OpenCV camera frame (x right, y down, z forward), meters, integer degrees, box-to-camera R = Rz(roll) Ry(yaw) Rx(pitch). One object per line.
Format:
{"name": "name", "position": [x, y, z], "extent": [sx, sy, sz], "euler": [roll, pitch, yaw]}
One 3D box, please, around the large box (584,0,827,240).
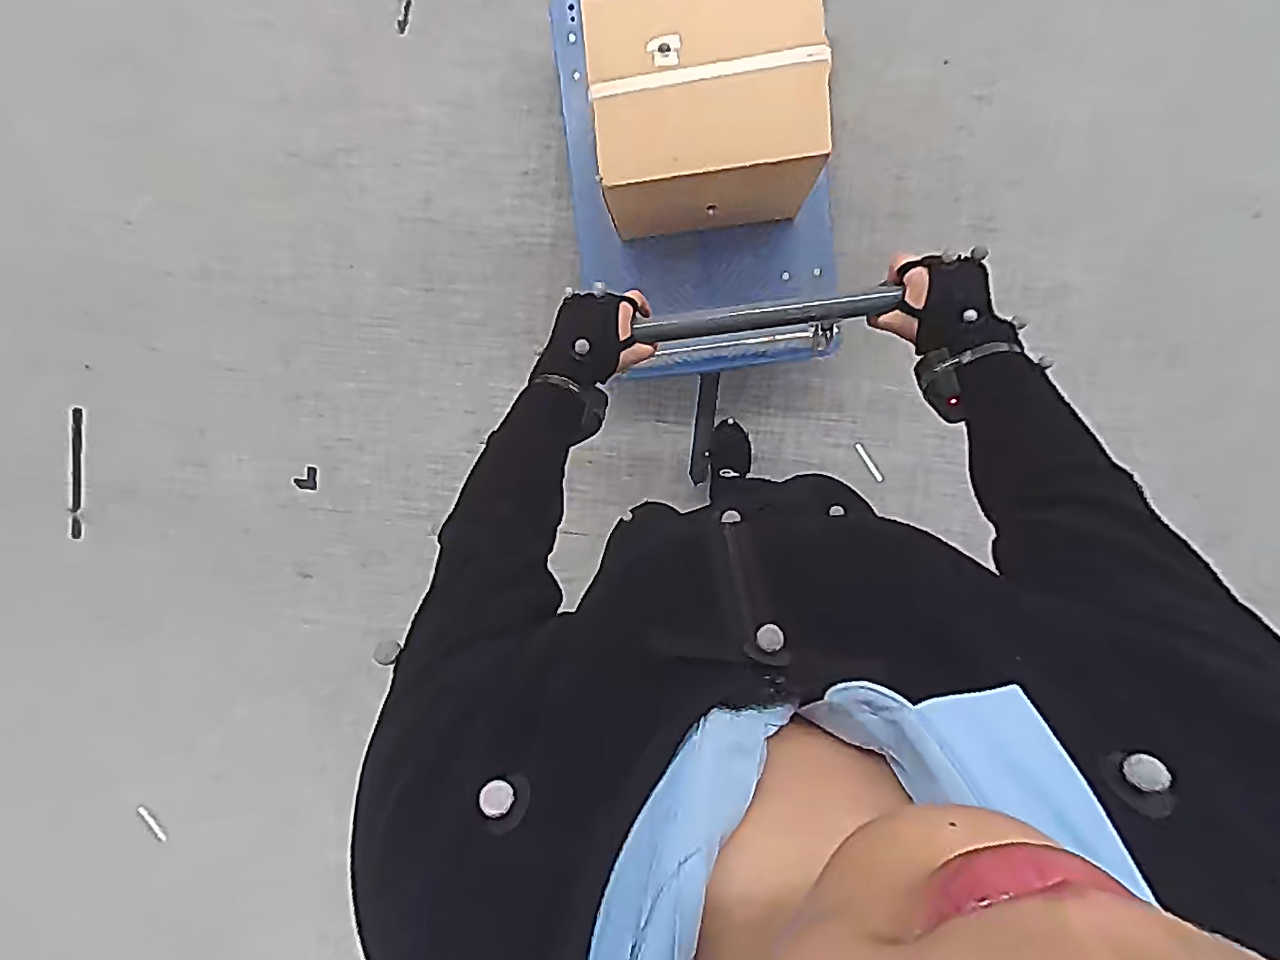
{"name": "large box", "position": [0.130, -0.718, 1.097], "extent": [0.408, 0.320, 0.320], "euler": [-6, 95, 7]}
